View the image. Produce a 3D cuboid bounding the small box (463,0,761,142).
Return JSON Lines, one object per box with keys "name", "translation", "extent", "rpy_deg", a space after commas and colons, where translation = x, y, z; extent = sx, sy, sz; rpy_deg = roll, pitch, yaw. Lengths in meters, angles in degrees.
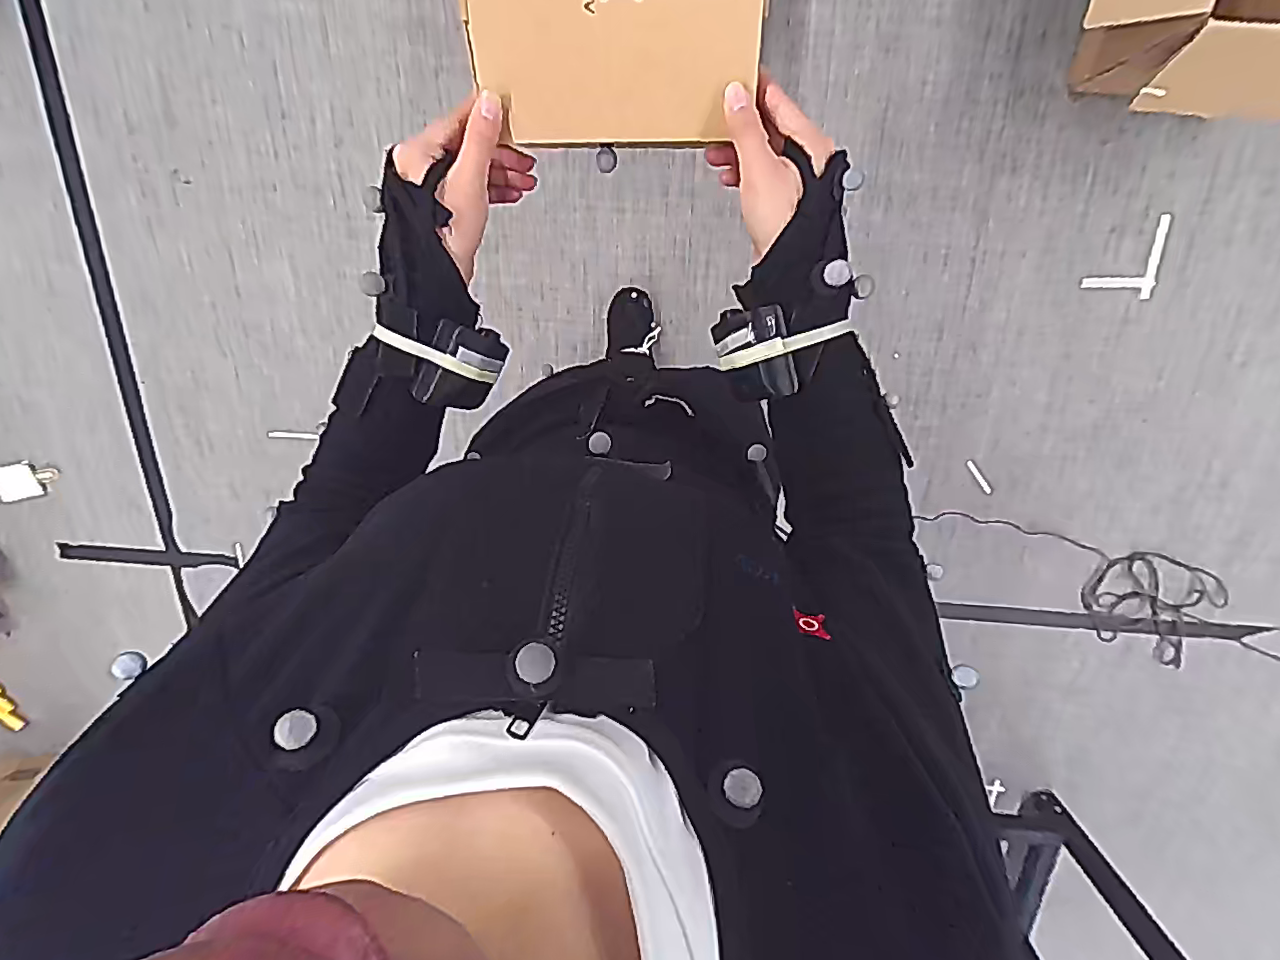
{"name": "small box", "translation": [-0.017, -0.333, 0.371], "extent": [0.179, 0.176, 0.168], "rpy_deg": [0, 121, 0]}
